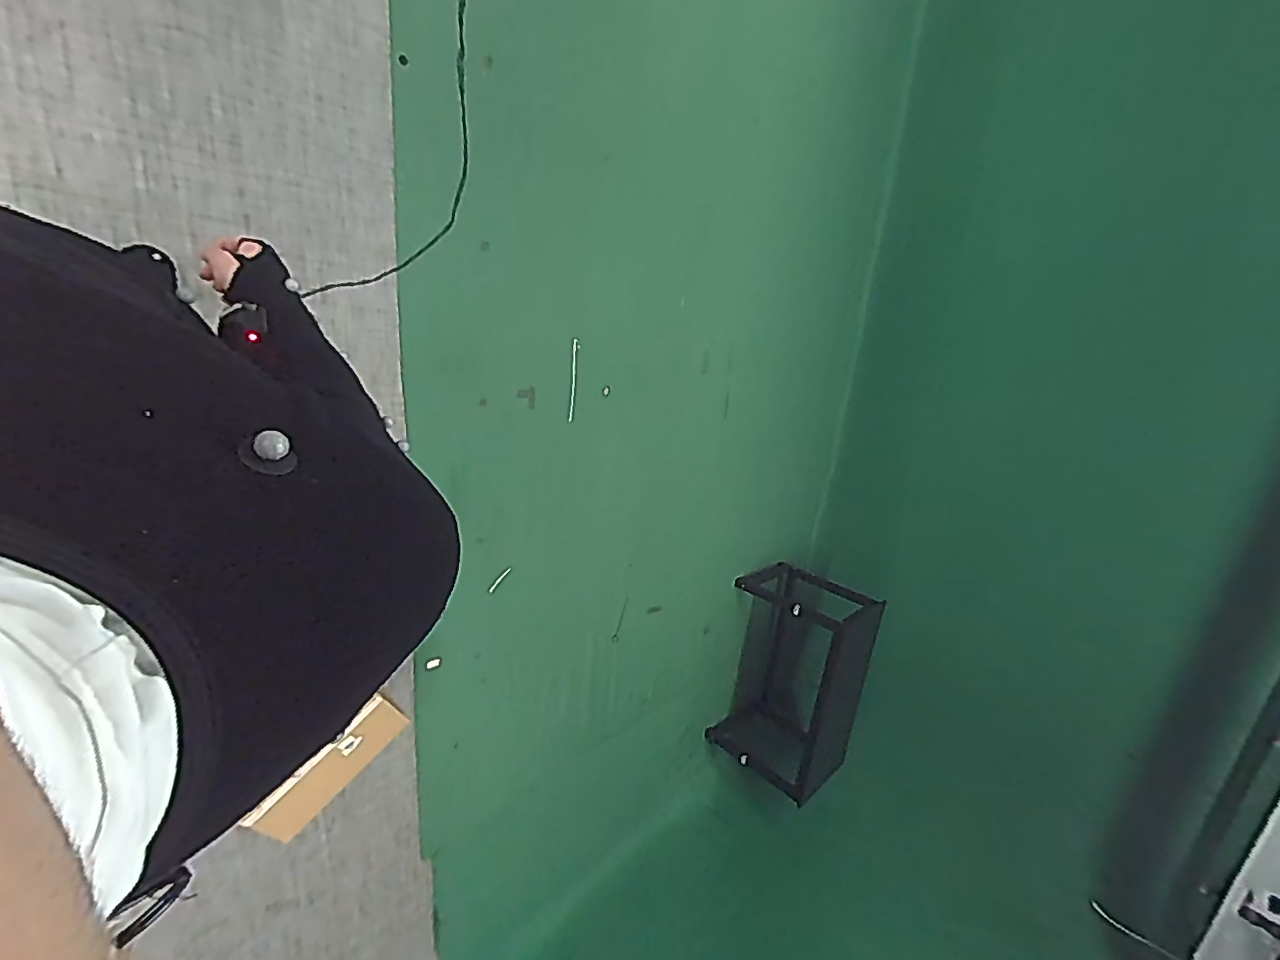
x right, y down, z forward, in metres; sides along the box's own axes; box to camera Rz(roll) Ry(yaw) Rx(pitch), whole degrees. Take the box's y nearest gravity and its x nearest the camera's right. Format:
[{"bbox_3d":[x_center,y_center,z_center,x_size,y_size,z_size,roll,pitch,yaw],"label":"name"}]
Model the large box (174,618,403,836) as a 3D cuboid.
[{"bbox_3d":[-0.983,0.682,1.533,0.408,0.320,0.320,-46,135,-27],"label":"large box"}]
